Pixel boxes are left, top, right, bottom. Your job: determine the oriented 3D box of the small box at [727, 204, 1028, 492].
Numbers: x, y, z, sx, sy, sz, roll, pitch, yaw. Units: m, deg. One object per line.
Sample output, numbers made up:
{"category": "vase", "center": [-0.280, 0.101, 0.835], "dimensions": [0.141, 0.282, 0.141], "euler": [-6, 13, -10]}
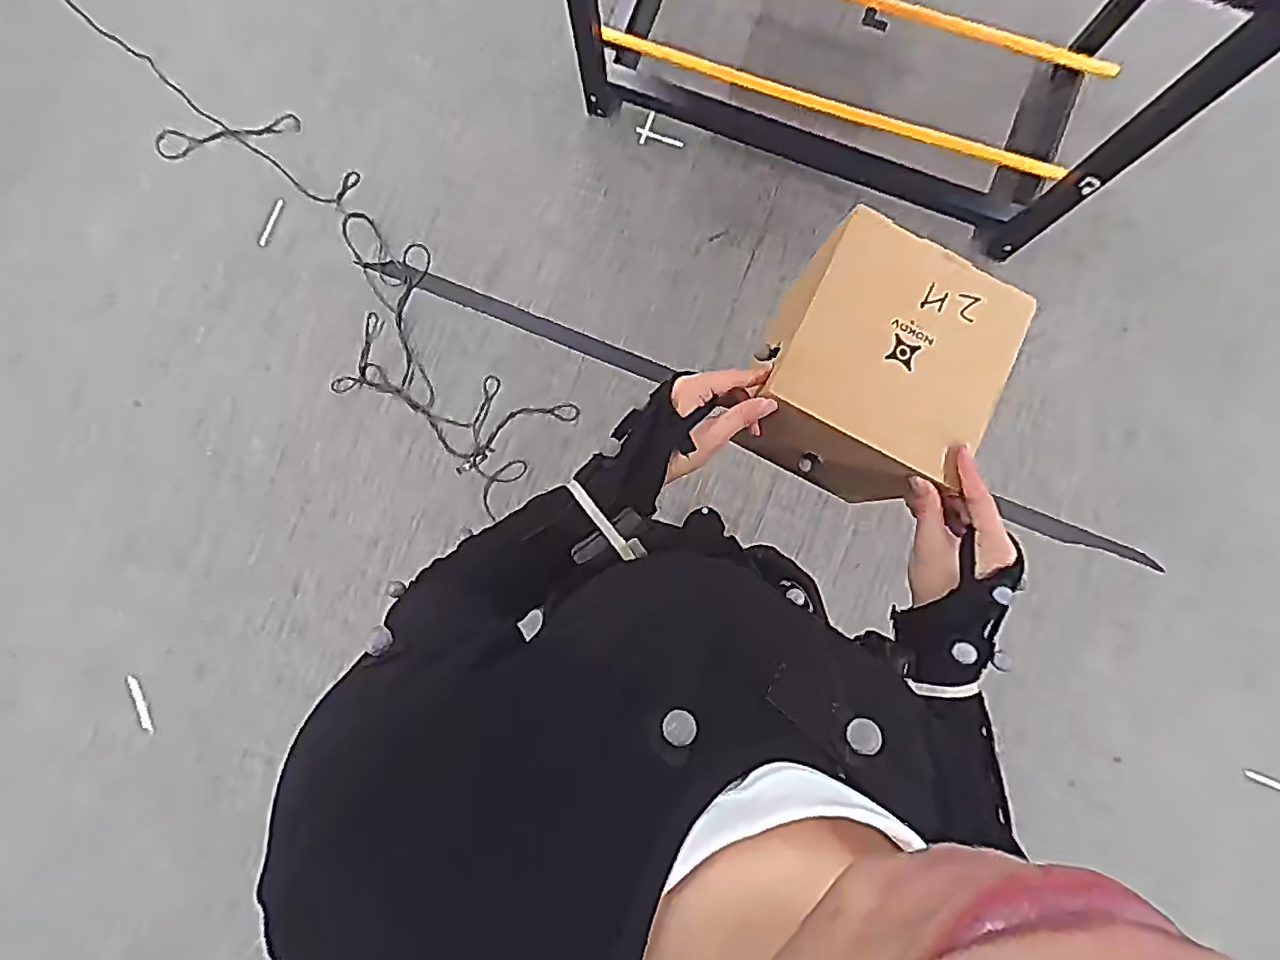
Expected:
{"category": "small box", "center": [0.196, -0.100, 0.500], "dimensions": [0.168, 0.176, 0.179], "euler": [27, 82, -3]}
